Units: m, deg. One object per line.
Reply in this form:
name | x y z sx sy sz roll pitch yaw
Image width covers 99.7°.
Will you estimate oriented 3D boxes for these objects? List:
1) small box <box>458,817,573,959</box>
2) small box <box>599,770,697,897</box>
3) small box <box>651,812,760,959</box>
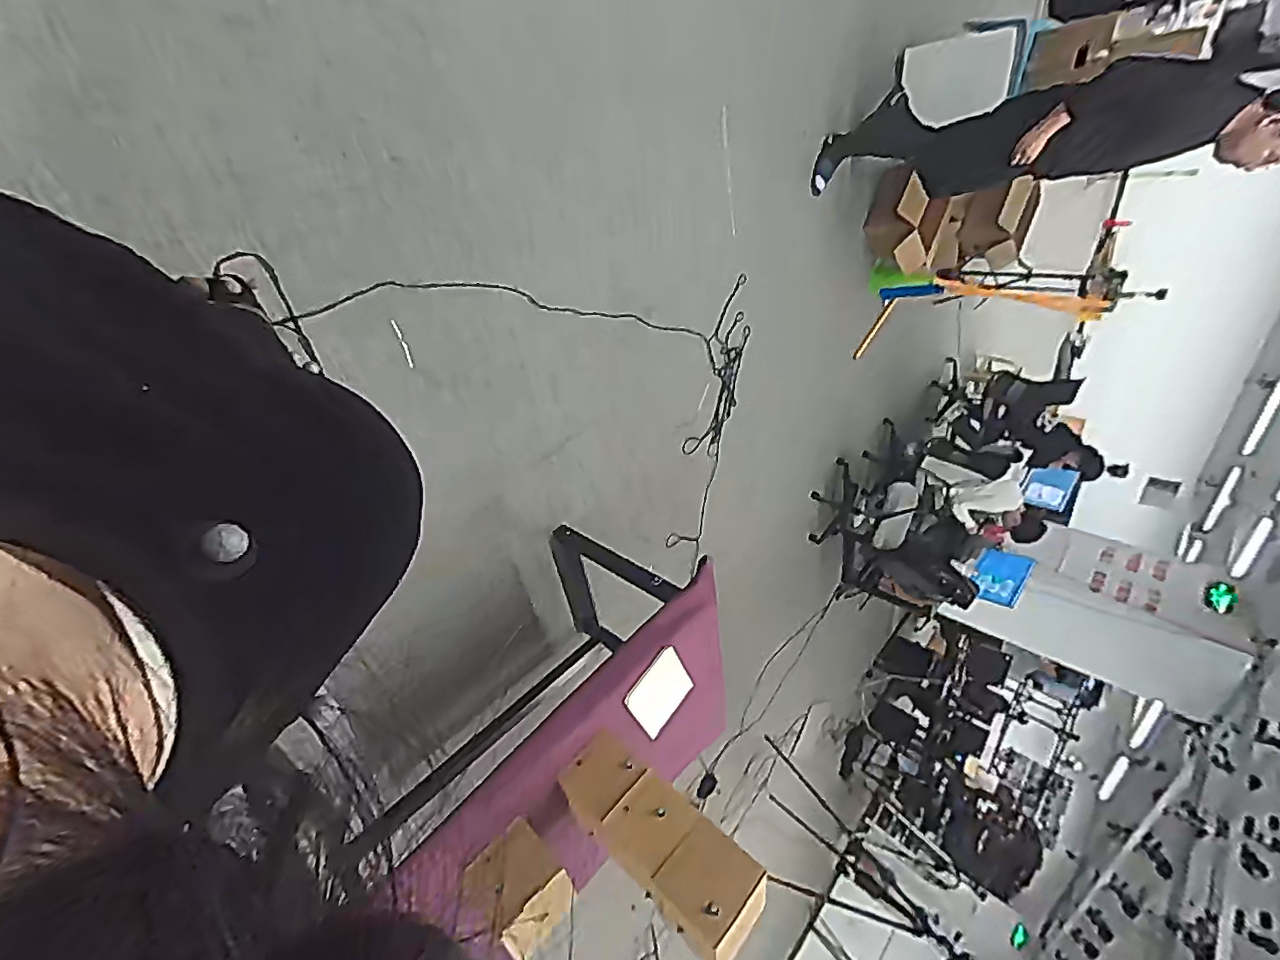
small box | -0.279 0.901 1.209 0.168 0.176 0.179 -34 132 -34
small box | 0.022 0.814 1.255 0.168 0.176 0.179 -35 132 -34
small box | 0.135 0.862 1.144 0.179 0.176 0.168 -33 131 -36
